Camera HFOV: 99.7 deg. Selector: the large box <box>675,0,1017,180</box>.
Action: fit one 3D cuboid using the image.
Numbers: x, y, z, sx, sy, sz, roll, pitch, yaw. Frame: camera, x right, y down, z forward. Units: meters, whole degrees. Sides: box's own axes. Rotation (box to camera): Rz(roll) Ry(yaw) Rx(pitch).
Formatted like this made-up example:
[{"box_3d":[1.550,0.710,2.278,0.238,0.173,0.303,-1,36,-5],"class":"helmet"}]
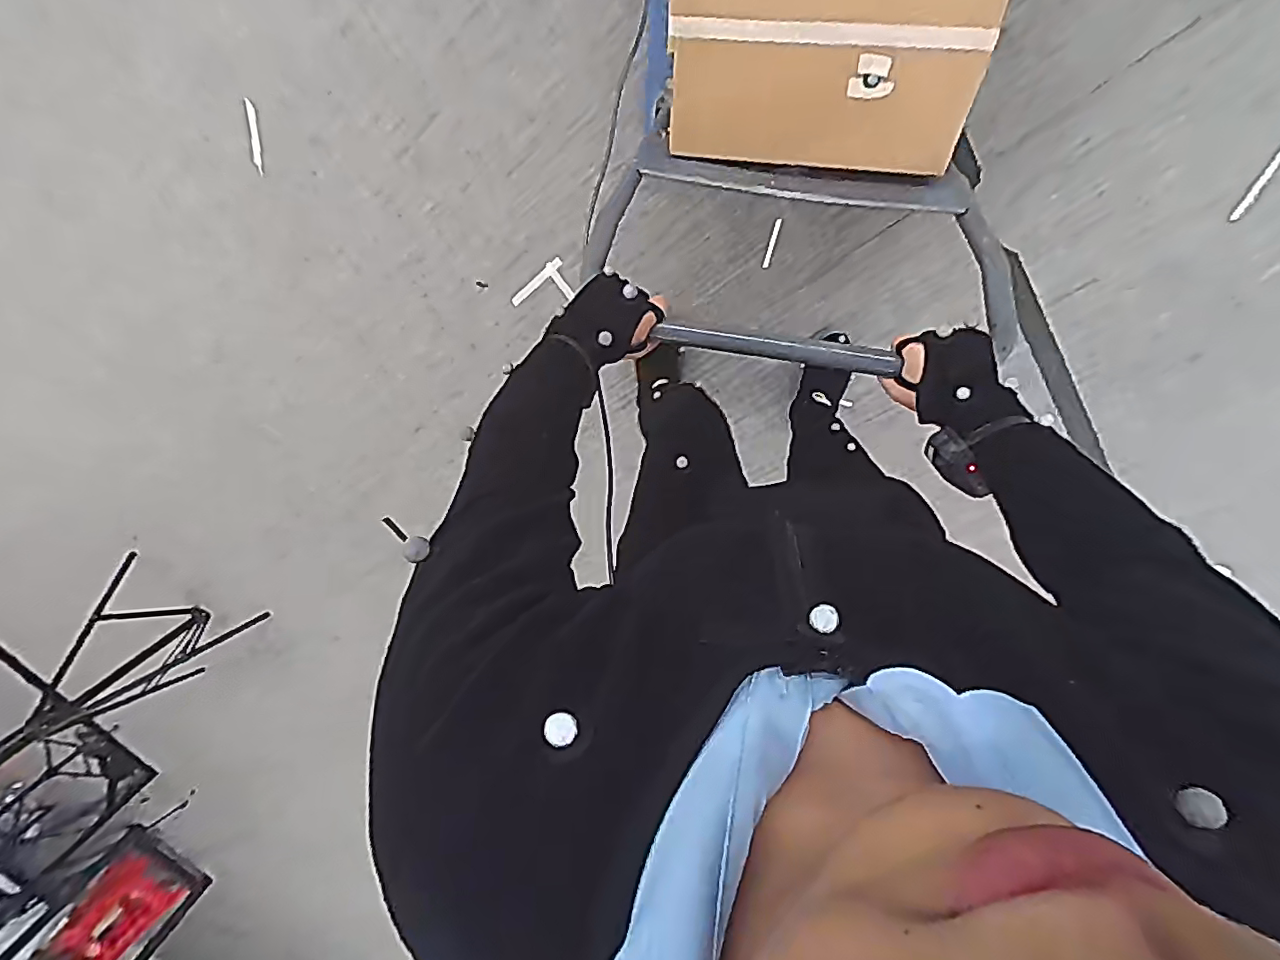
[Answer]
[{"box_3d":[0.273,-0.664,0.792,0.408,0.320,0.320,9,136,6],"class":"large box"}]
